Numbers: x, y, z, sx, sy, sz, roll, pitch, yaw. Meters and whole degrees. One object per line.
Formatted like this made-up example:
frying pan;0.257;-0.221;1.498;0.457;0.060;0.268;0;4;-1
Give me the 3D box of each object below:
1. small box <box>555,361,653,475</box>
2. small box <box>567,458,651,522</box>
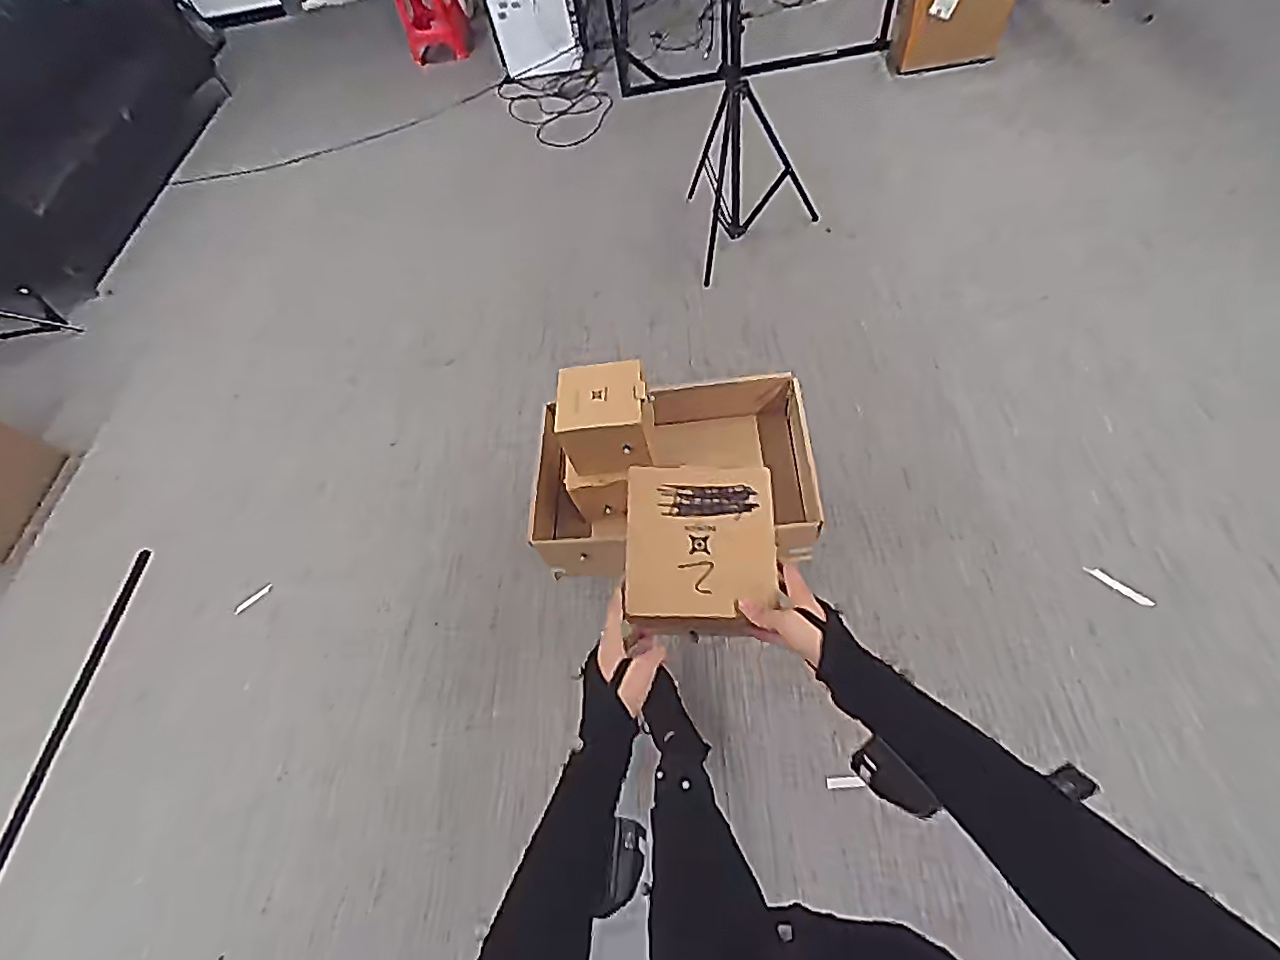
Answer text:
small box;-0.067;-0.125;1.137;0.179;0.176;0.168;-5;59;8
small box;-0.071;-0.021;1.269;0.168;0.176;0.179;-9;59;6
